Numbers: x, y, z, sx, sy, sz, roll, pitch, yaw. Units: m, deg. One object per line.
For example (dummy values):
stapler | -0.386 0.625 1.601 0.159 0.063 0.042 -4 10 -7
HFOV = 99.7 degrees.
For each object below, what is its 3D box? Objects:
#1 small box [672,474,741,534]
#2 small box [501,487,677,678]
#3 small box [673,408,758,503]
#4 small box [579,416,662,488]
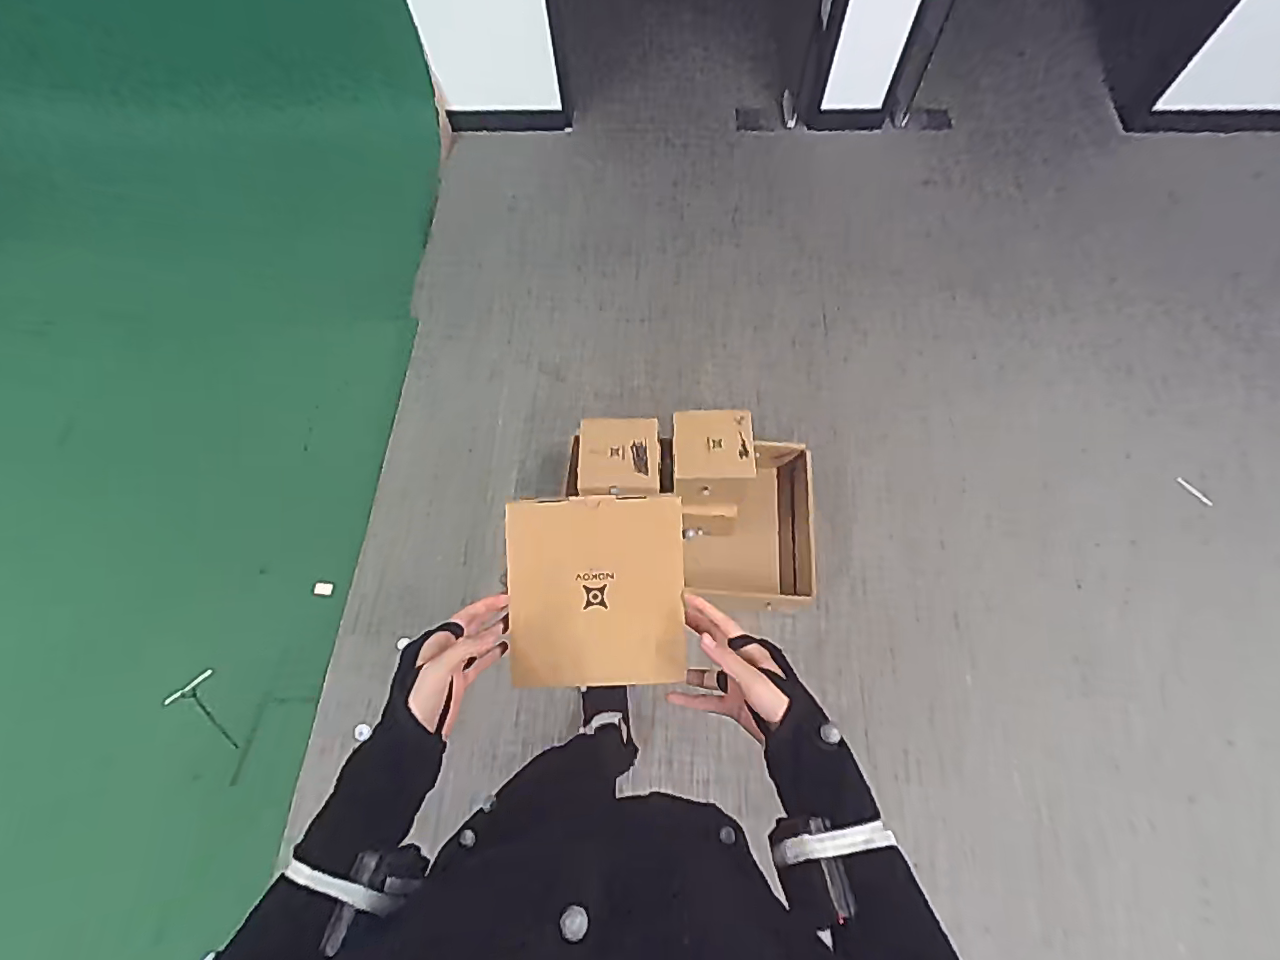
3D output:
small box | 0.167 0.027 1.380 0.168 0.176 0.179 3 69 6
small box | -0.044 0.098 0.582 0.168 0.176 0.179 -2 86 2
small box | 0.167 -0.051 1.235 0.179 0.176 0.168 -1 68 4
small box | -0.039 -0.035 1.237 0.179 0.176 0.168 0 69 2
